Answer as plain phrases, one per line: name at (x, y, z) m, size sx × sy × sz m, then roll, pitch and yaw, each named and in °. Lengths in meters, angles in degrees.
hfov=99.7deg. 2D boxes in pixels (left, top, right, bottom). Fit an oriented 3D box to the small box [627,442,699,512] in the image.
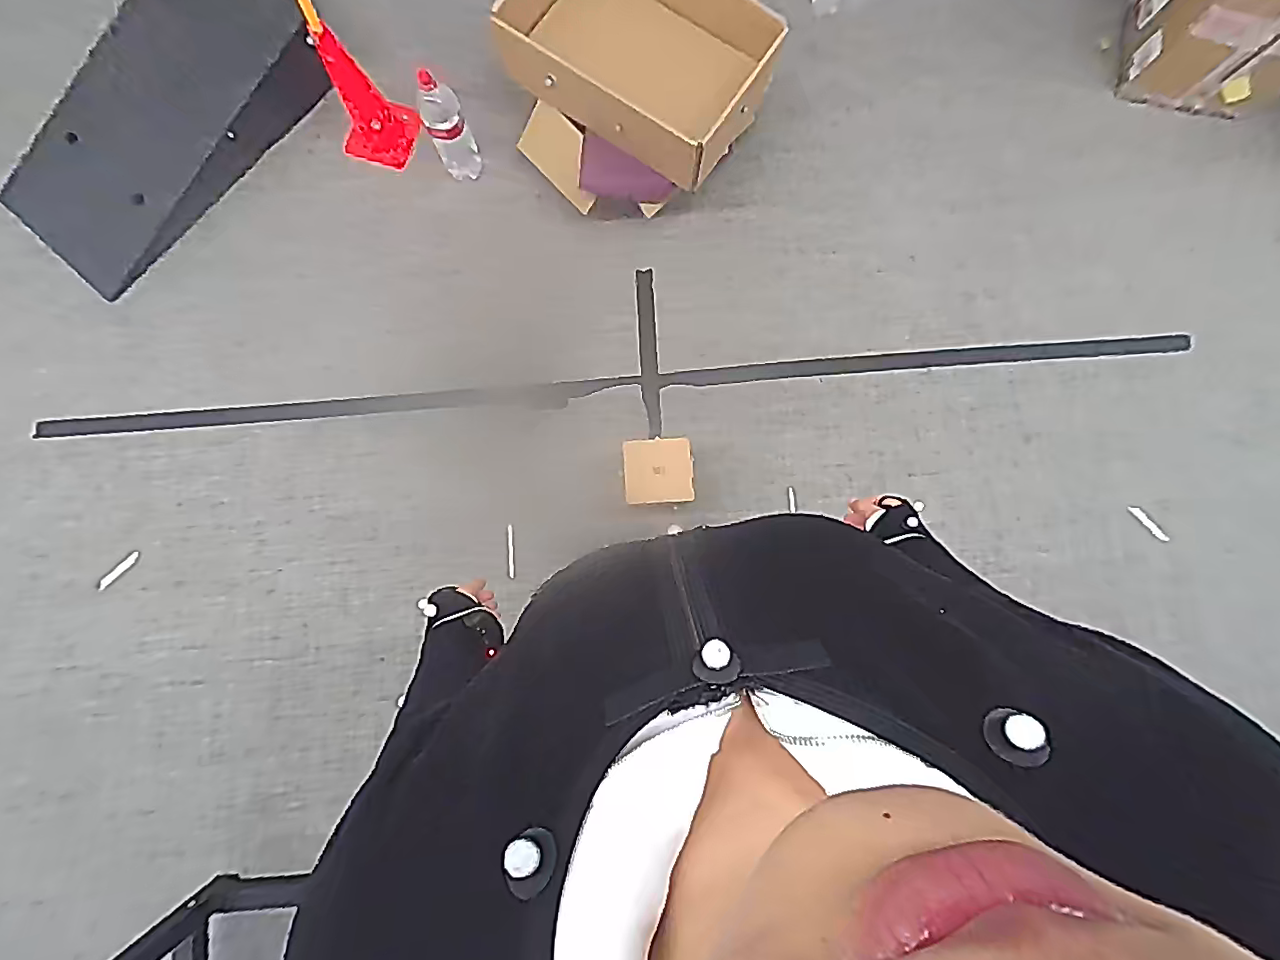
small box at (0.057, -0.003, 1.456) m, size 0.179 × 0.176 × 0.168 m, roll -4°, pitch 83°, yaw 0°
